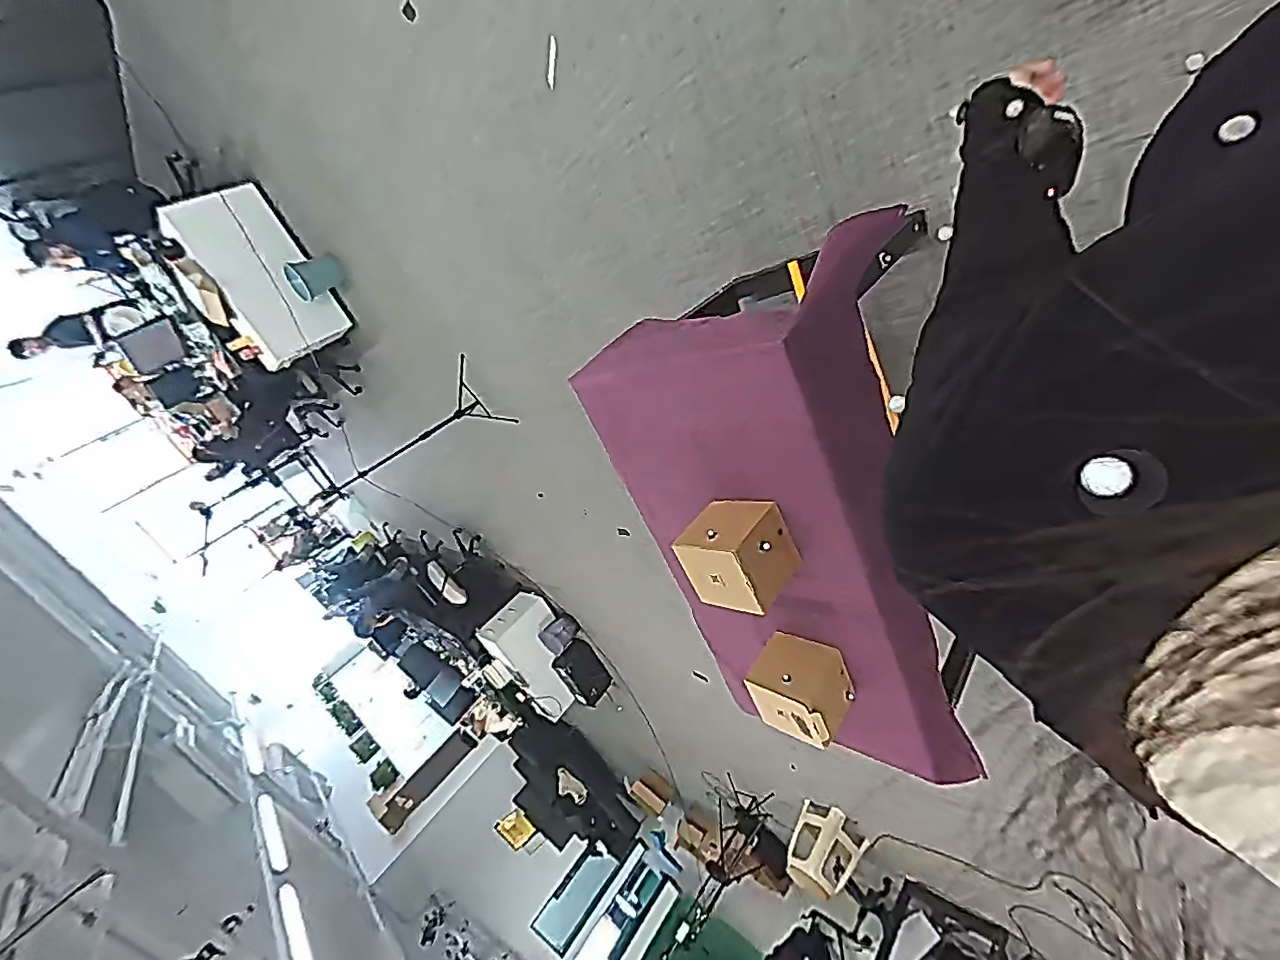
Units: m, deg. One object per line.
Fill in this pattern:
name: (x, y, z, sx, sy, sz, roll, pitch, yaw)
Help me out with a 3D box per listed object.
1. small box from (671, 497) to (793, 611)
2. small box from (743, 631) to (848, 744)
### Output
small box: (0.206, 0.150, 1.156, 0.179, 0.176, 0.168, 0, 125, 50)
small box: (0.388, 0.496, 1.319, 0.179, 0.176, 0.168, 4, 128, 48)
